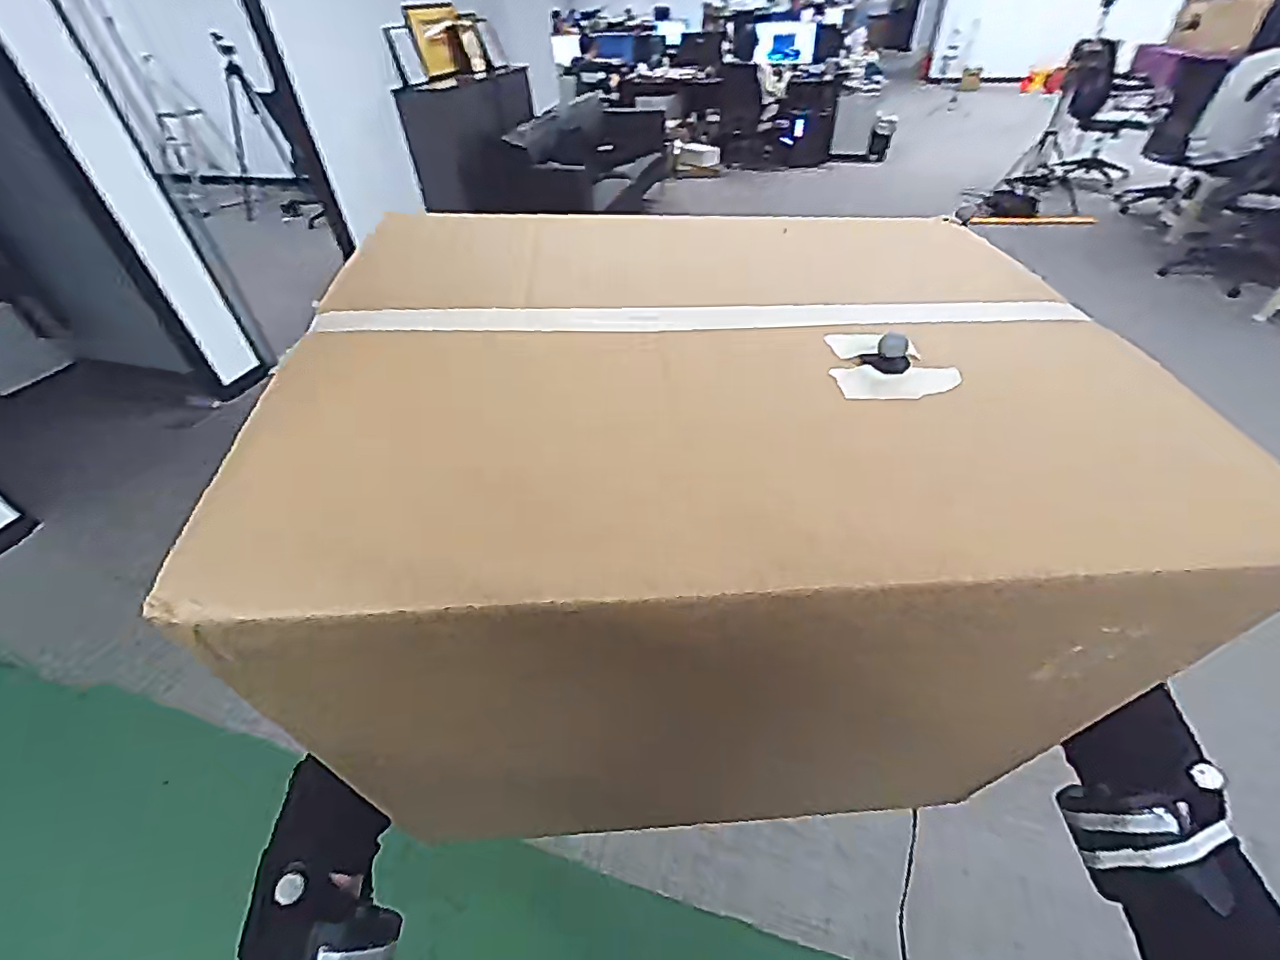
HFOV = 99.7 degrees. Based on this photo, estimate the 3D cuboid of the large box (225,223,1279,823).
[{"bbox_3d":[0.041,0.027,0.400,0.408,0.320,0.320,-1,47,-5],"label":"large box"}]
